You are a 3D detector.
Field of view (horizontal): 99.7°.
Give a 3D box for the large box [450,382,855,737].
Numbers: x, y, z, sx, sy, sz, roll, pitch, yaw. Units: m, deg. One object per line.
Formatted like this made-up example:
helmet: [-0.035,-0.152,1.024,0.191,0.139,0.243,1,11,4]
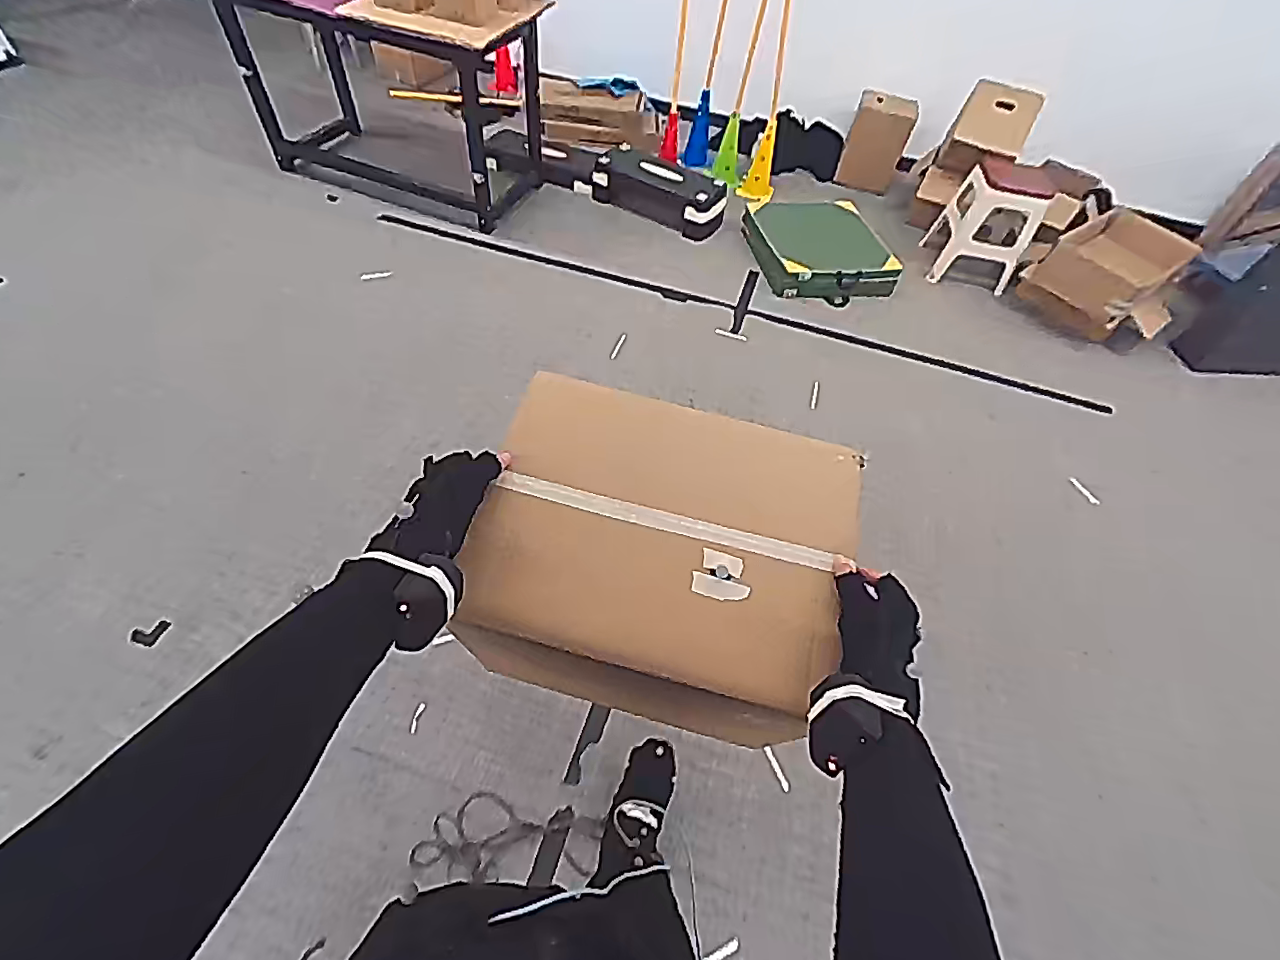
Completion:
large box: [0.023,0.121,0.727,0.408,0.320,0.320,15,61,4]
